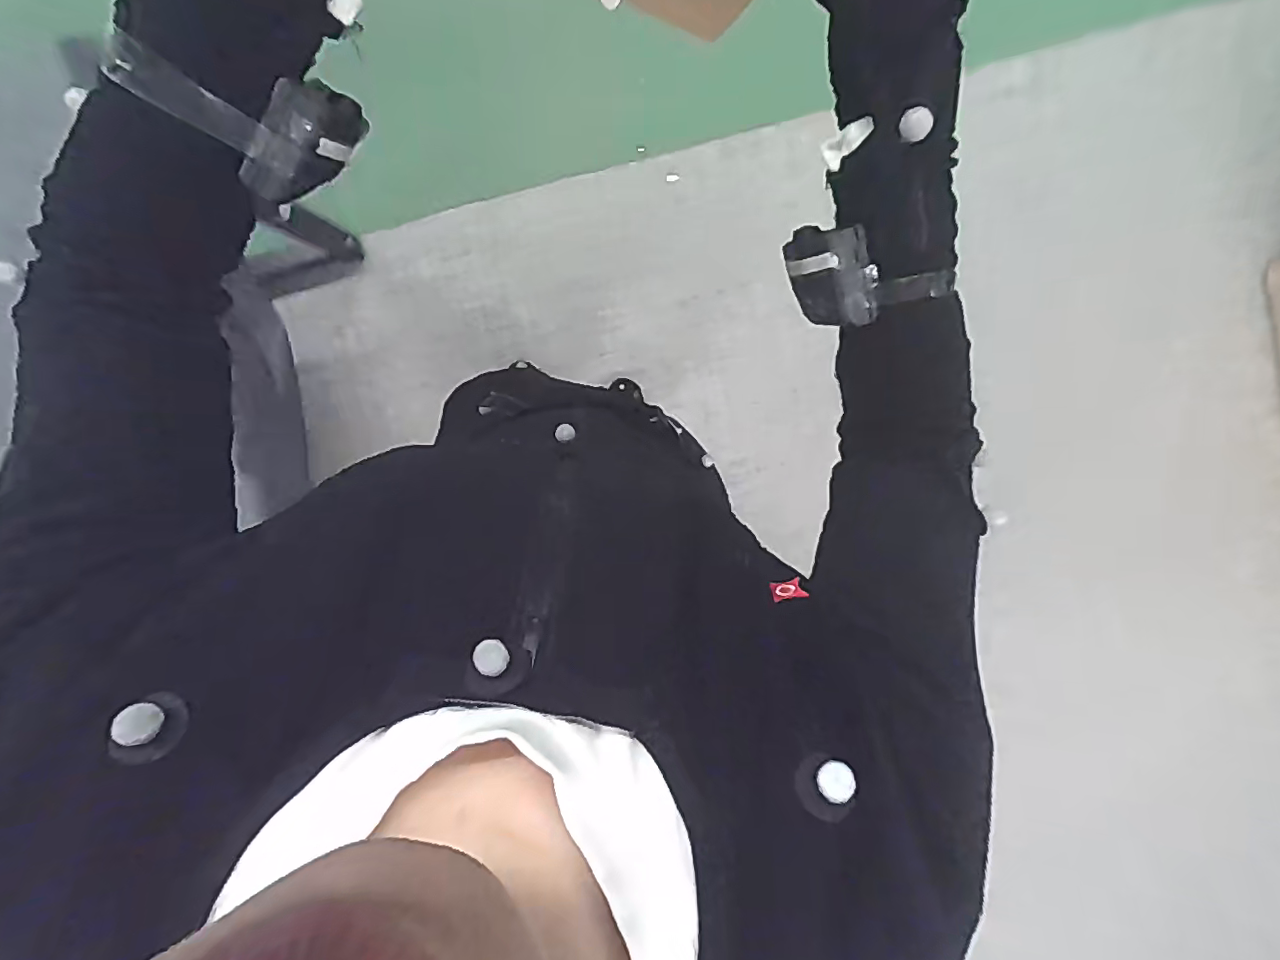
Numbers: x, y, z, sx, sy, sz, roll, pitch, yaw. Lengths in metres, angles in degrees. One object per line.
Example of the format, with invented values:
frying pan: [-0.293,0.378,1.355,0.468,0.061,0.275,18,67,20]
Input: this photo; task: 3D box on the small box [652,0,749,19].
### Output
small box: [0.023,-0.401,0.301,0.179,0.176,0.168,15,115,-15]
